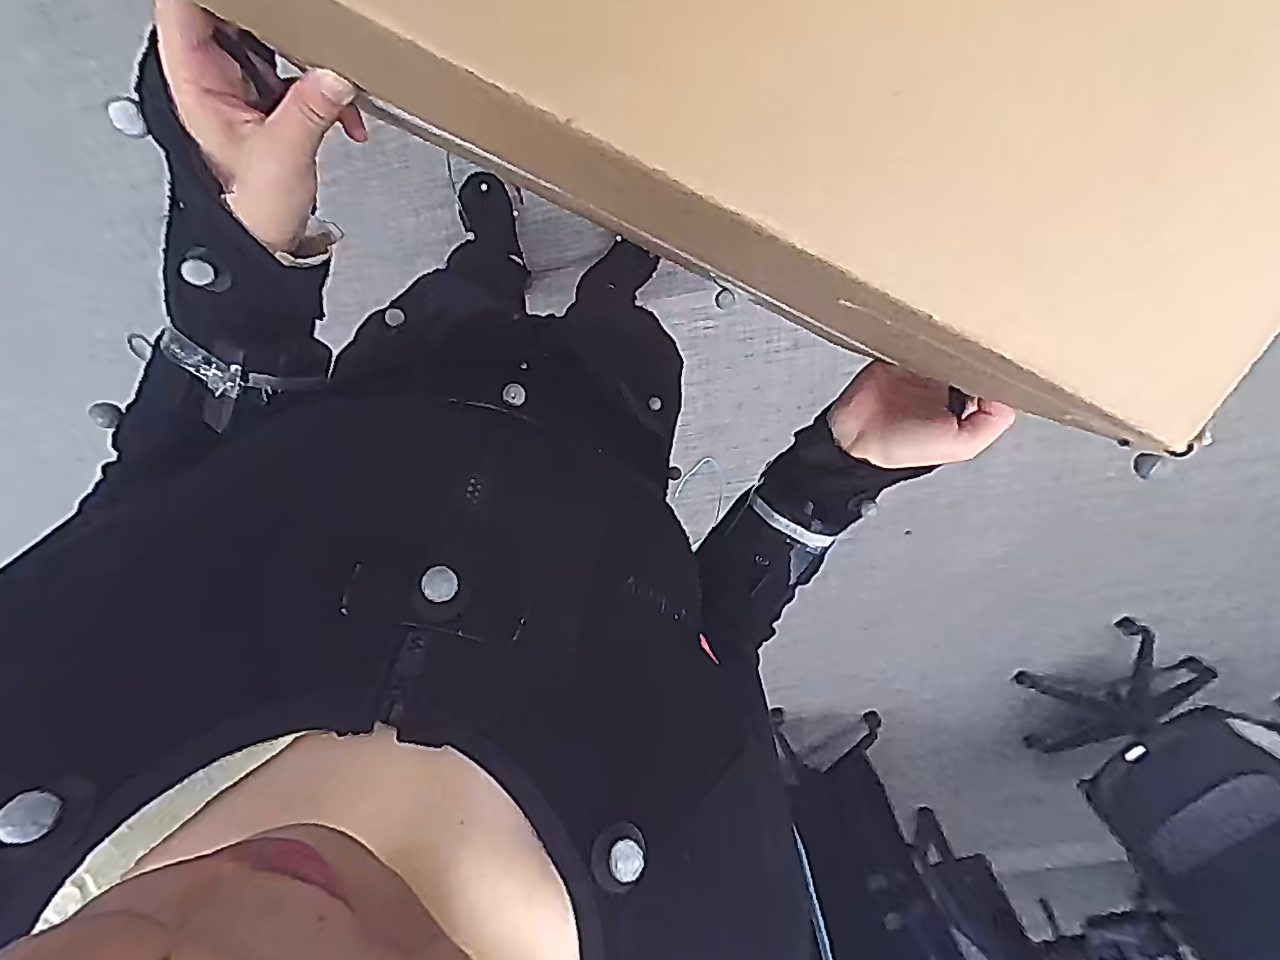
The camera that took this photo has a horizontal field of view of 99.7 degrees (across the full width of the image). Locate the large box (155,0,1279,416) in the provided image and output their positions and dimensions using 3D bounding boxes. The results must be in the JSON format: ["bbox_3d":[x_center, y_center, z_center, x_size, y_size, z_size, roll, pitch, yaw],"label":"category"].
[{"bbox_3d":[0.050,-0.272,0.235,0.408,0.320,0.320,19,111,-13],"label":"large box"}]
